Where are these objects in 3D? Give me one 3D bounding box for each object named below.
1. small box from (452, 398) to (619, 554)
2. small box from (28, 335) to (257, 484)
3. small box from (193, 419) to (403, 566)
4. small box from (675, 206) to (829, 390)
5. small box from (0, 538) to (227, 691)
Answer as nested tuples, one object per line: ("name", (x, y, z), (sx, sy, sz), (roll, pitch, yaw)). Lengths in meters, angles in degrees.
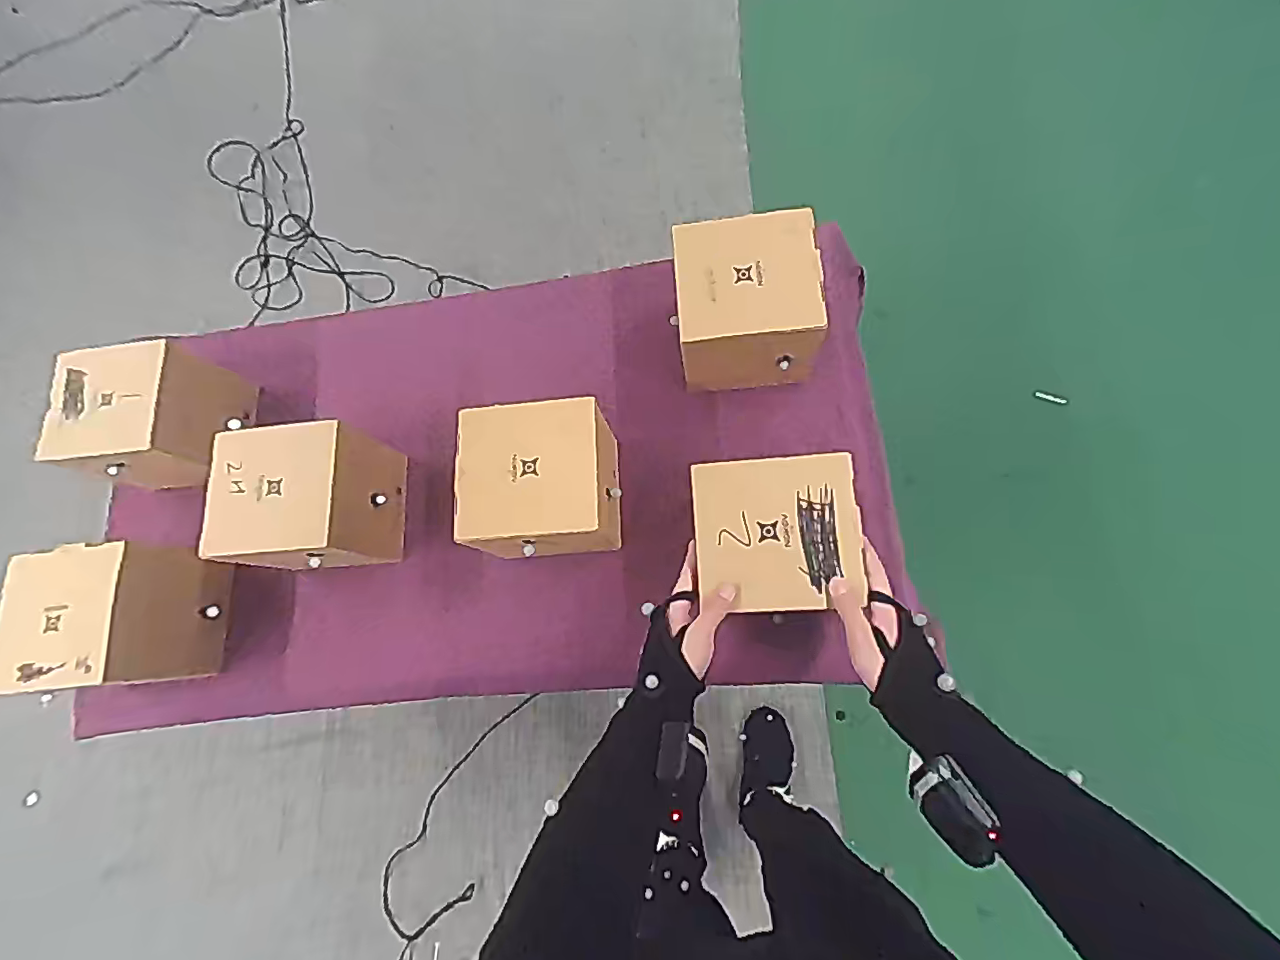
("small box", (-0.124, 0.004, 0.708), (0.179, 0.176, 0.168), (-5, 76, 8))
("small box", (-0.728, -0.095, 0.811), (0.179, 0.176, 0.168), (-5, 76, 6))
("small box", (-0.451, 0.026, 0.744), (0.179, 0.176, 0.168), (-5, 75, 7))
("small box", (0.142, -0.232, 0.727), (0.179, 0.176, 0.168), (-4, 77, 8))
("small box", (-0.711, 0.185, 0.737), (0.168, 0.176, 0.179), (-7, 74, 6))
